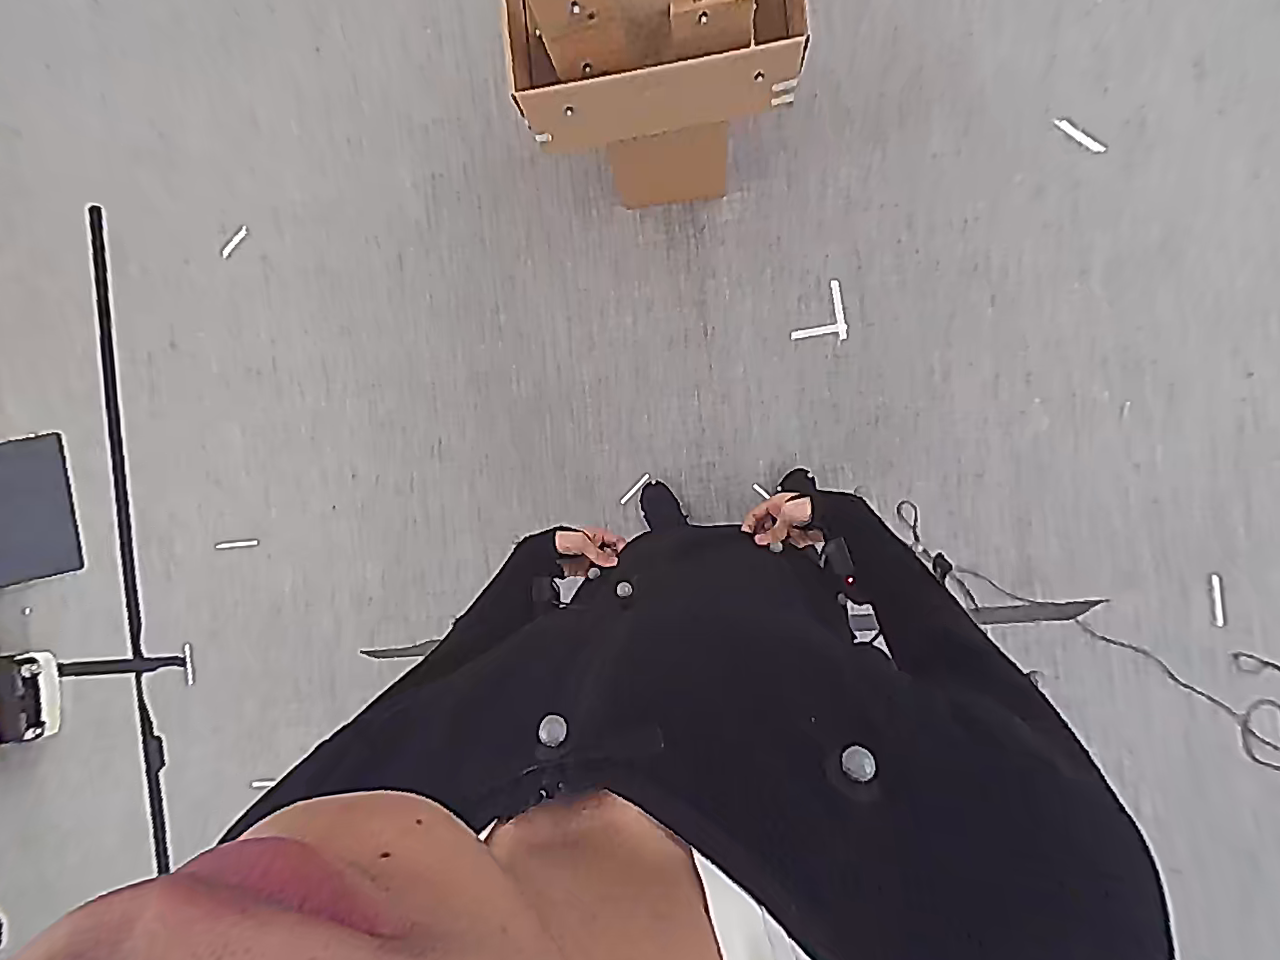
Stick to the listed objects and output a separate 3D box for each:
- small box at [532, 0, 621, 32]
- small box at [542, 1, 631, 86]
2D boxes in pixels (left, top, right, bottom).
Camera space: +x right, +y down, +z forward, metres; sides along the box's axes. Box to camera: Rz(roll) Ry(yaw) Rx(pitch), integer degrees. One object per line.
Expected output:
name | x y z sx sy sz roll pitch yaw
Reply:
small box | -0.142 -0.993 0.995 0.168 0.176 0.179 -13 89 8
small box | -0.124 -1.004 1.158 0.168 0.176 0.179 -14 89 8
